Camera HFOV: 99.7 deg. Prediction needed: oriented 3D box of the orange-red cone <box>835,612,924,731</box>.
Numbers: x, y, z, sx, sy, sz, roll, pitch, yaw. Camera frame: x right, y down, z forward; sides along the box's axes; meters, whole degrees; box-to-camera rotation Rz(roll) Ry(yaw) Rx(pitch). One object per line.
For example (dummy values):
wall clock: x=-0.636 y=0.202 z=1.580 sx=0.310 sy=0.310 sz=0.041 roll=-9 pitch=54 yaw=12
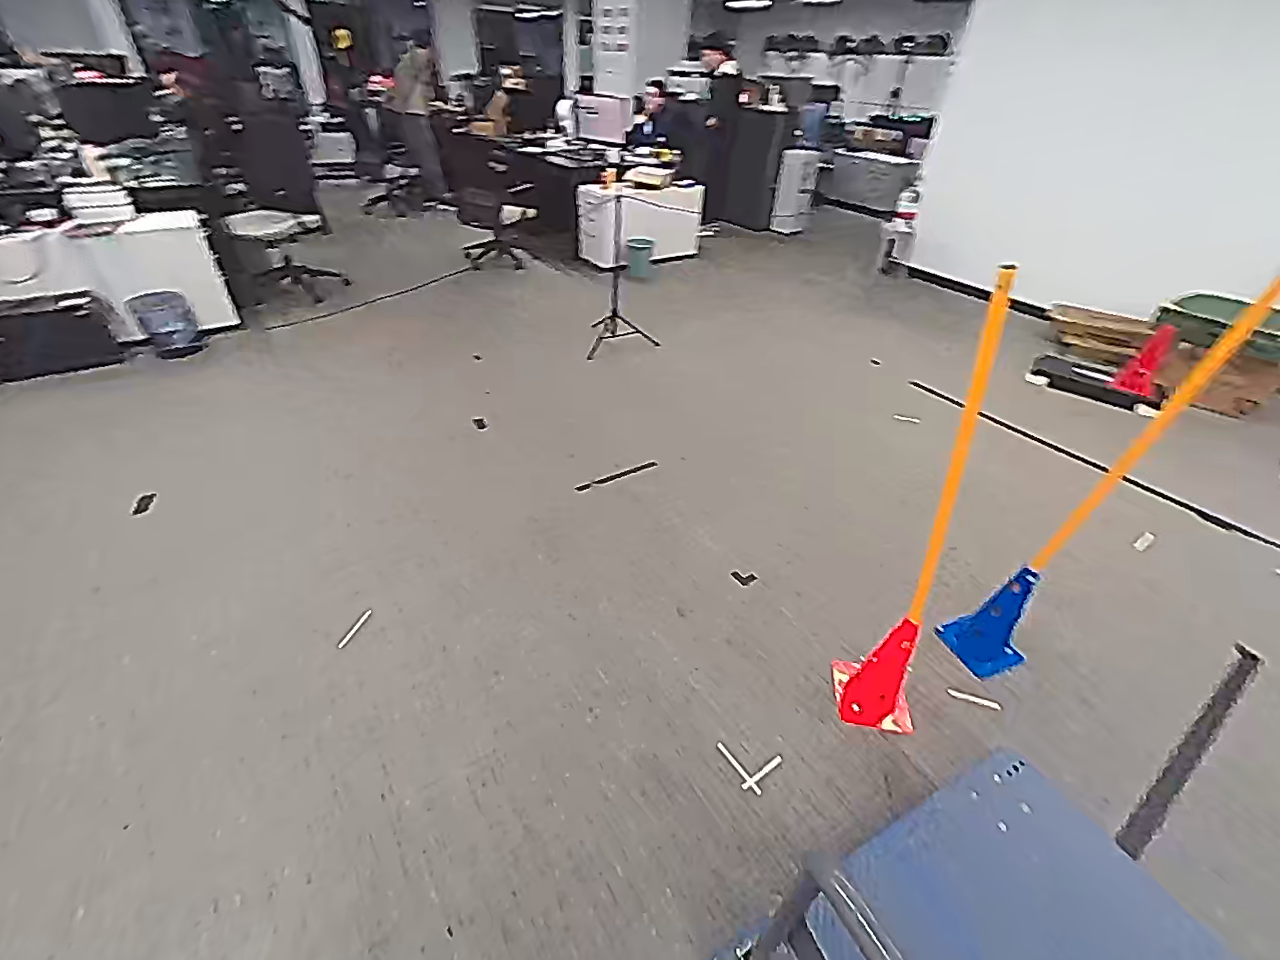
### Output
orange-red cone: x=0.675 y=0.476 z=1.445 sx=0.199 sy=0.360 sz=0.198 roll=10 pitch=39 yaw=6

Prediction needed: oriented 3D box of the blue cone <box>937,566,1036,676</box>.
blue cone: x=1.078 y=0.392 z=1.611 sx=0.192 sy=0.380 sz=0.193 roll=-11 pitch=40 yaw=-17
